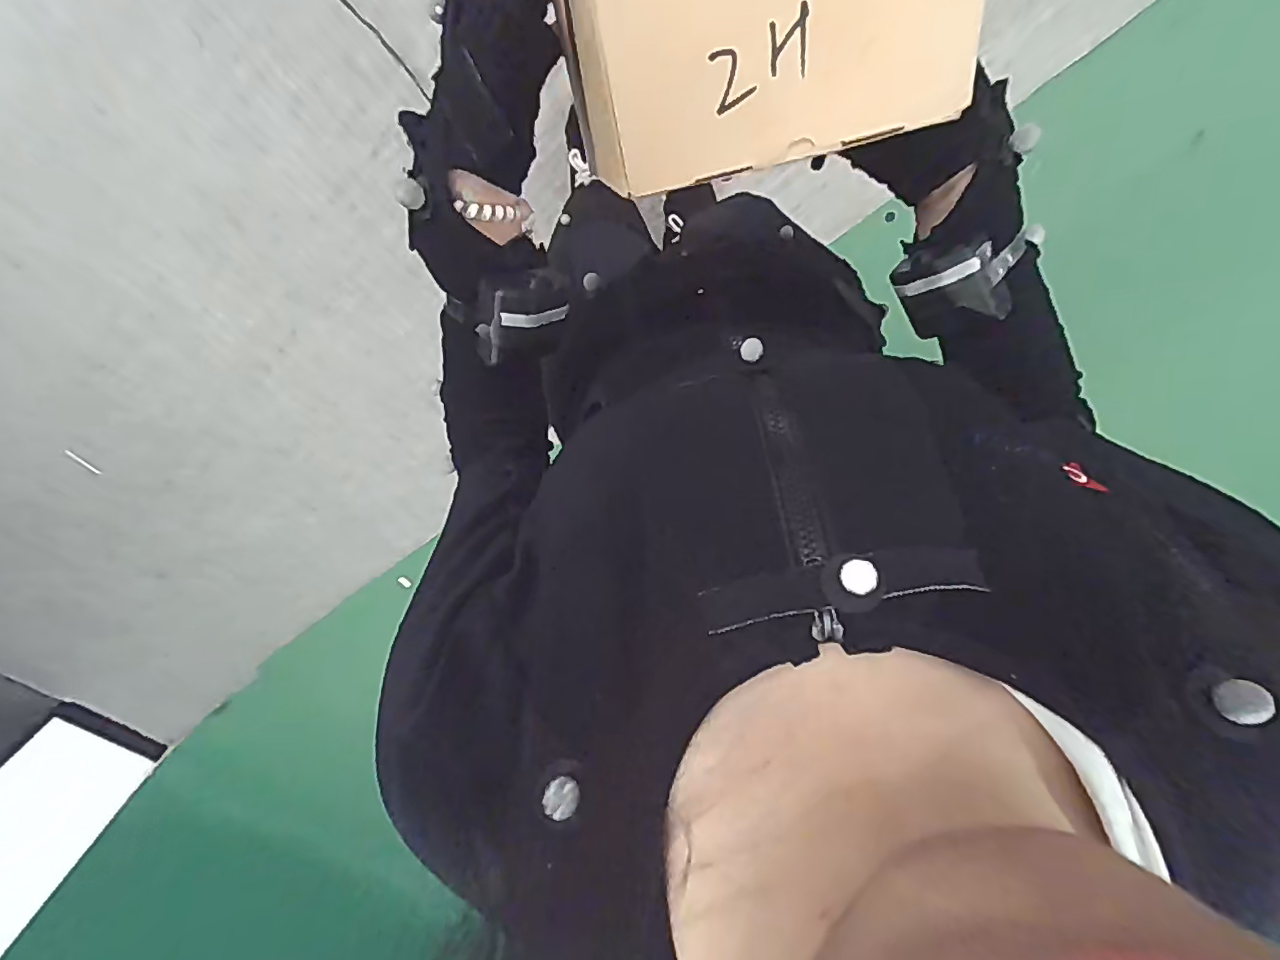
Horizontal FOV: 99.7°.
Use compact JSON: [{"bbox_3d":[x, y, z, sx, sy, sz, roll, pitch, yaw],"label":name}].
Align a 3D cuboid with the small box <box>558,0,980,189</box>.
[{"bbox_3d":[0.044,-0.265,0.270,0.168,0.176,0.179,-15,125,-2],"label":"small box"}]
